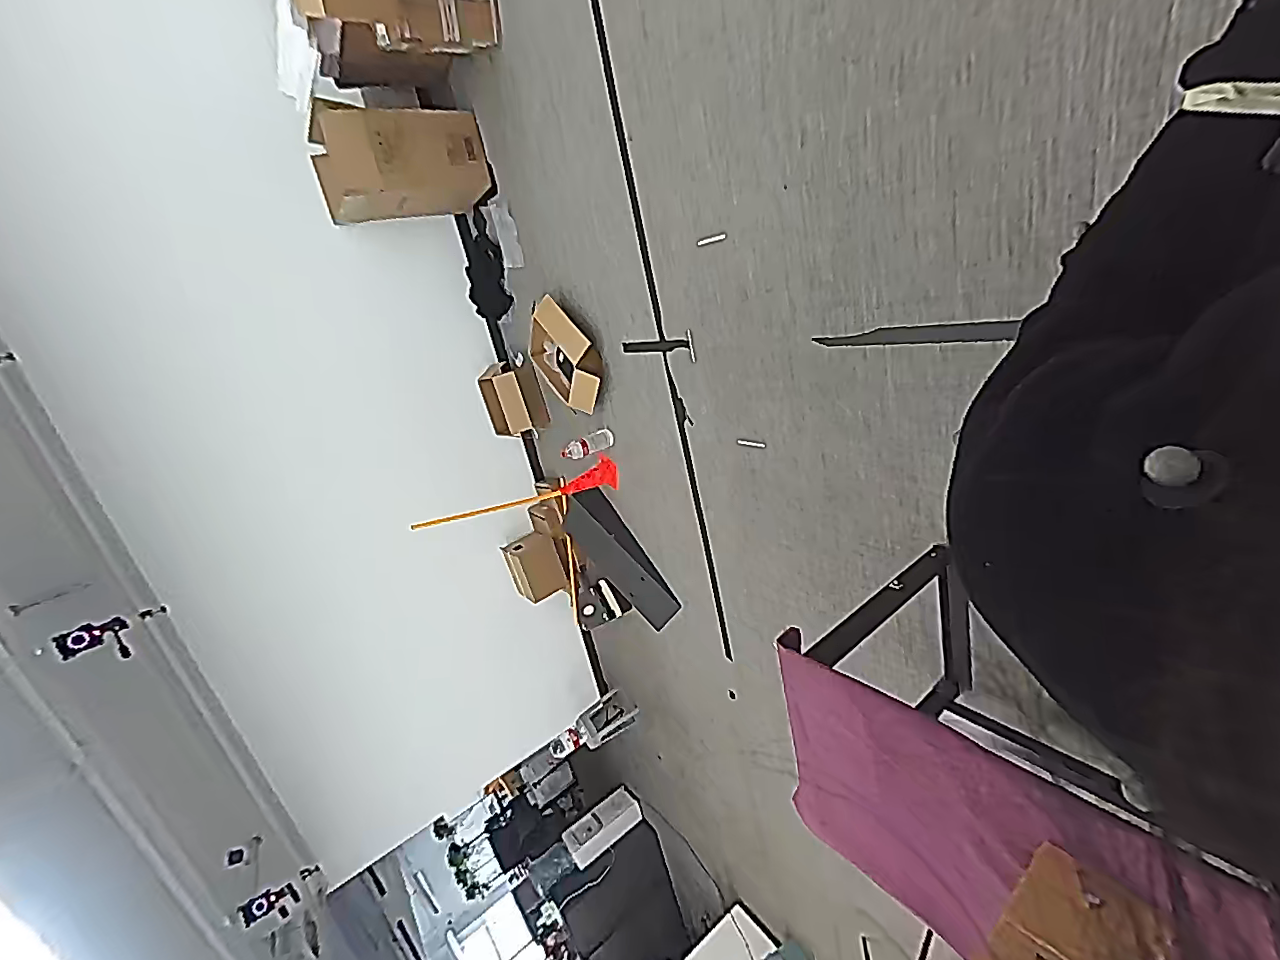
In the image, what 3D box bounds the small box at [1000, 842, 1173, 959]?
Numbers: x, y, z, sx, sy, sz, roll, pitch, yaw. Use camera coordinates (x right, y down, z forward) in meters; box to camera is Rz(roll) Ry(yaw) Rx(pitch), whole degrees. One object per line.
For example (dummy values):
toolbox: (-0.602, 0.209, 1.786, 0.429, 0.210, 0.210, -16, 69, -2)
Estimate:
small box: (0.699, 0.735, 0.854, 0.168, 0.176, 0.179, 18, 127, 52)
